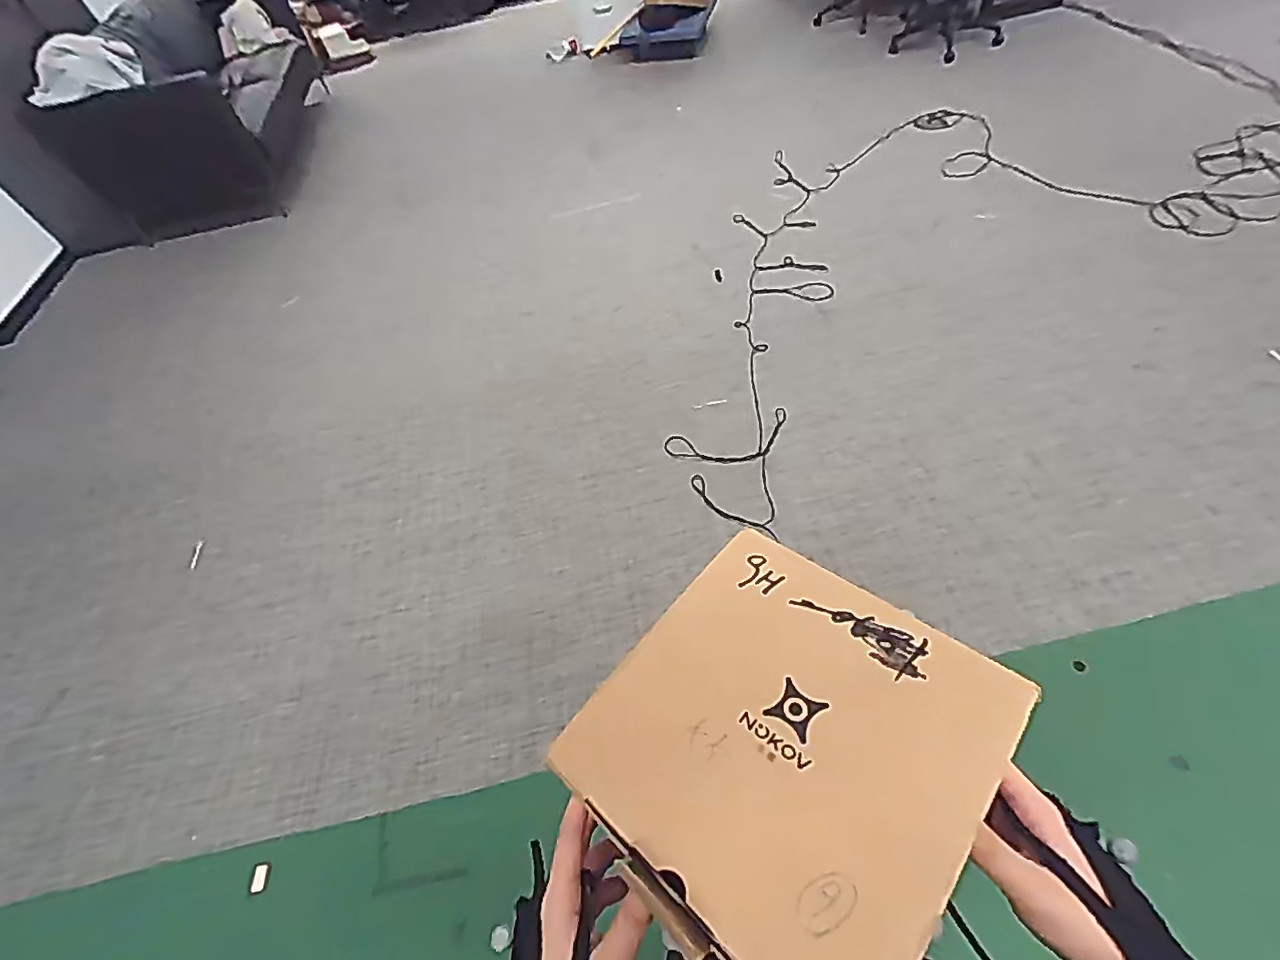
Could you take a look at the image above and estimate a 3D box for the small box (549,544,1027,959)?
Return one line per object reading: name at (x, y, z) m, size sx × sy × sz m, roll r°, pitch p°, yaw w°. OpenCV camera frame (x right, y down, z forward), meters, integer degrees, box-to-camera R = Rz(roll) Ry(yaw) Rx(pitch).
small box at (0.082, 0.179, 0.320) m, size 0.168 × 0.176 × 0.179 m, roll 29°, pitch 61°, yaw 33°
